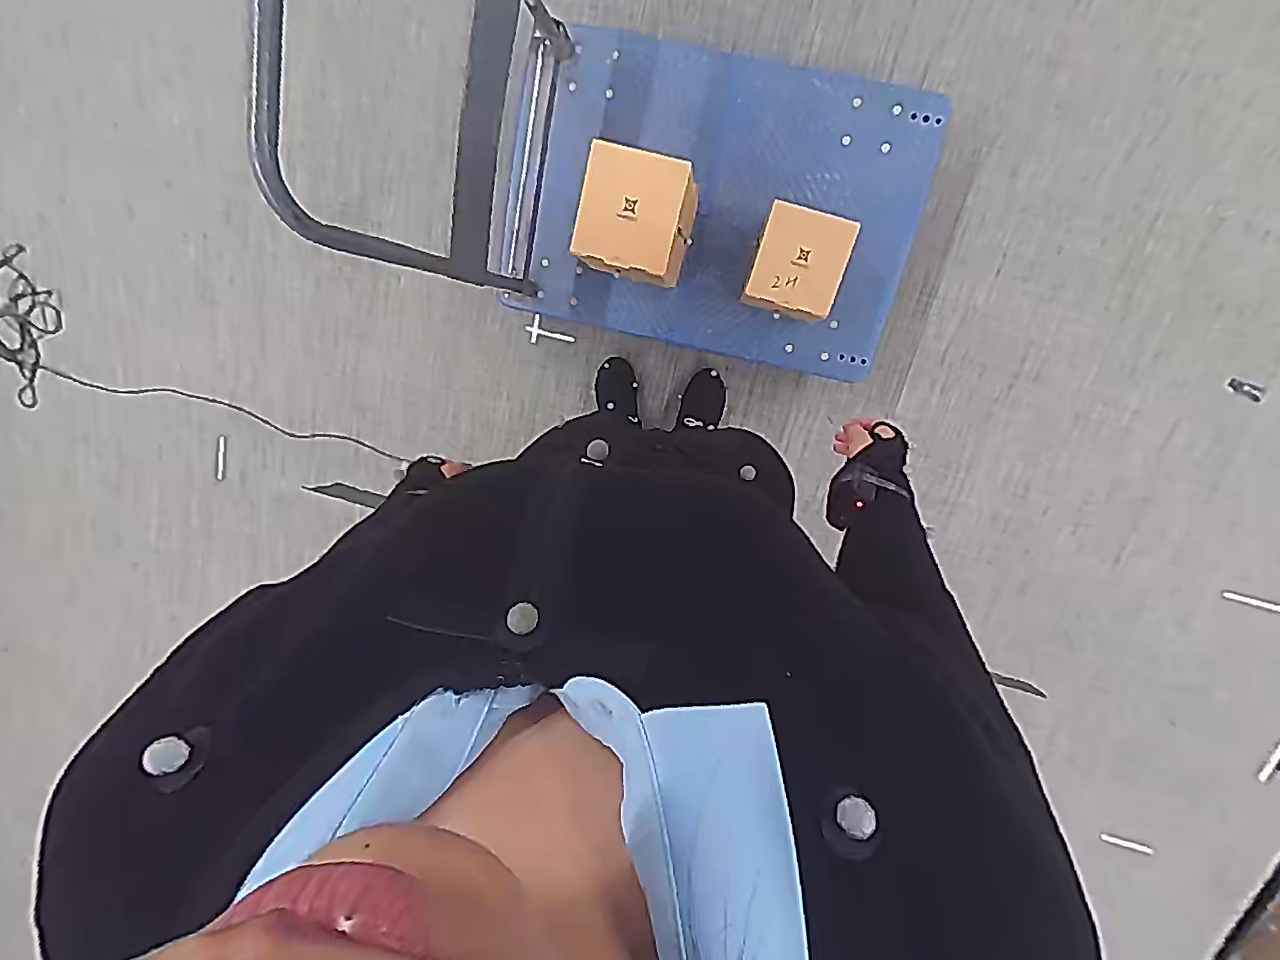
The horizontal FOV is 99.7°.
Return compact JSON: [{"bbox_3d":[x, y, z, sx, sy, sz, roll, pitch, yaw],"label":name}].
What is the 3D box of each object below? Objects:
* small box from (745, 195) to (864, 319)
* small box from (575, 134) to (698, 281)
[{"bbox_3d":[0.315,-0.435,1.082,0.168,0.176,0.179,18,105,3],"label":"small box"},{"bbox_3d":[-0.002,-0.461,0.944,0.168,0.176,0.179,15,106,2],"label":"small box"}]
